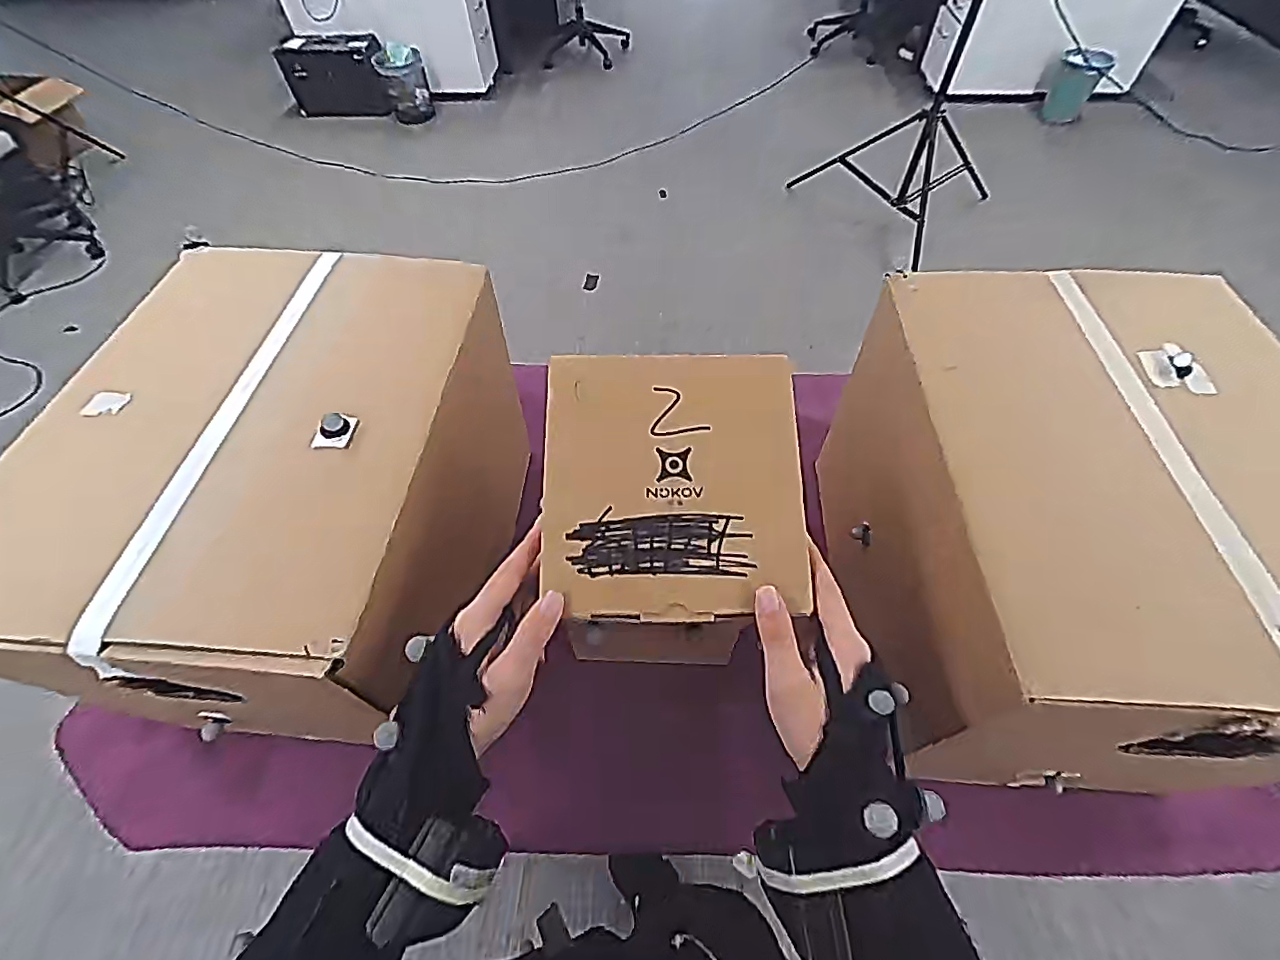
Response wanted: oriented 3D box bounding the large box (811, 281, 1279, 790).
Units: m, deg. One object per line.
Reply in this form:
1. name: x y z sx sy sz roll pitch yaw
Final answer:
1. large box: 0.379 0.058 0.534 0.320 0.320 0.408 2 54 3
